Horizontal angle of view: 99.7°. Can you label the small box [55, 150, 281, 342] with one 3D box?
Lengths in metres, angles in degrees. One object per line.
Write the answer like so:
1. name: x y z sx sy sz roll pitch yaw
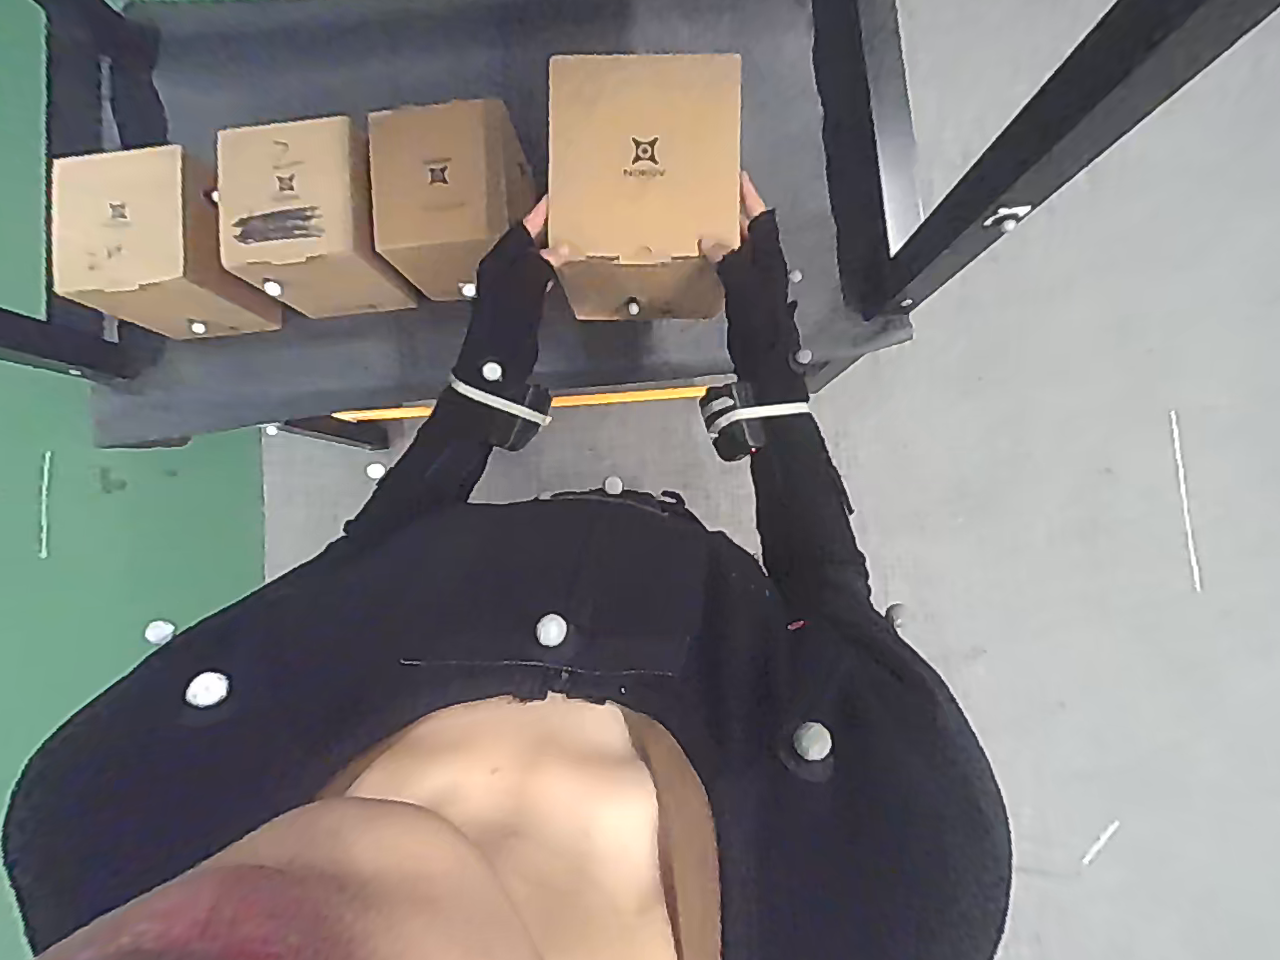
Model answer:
1. small box: -0.622 -0.304 0.733 0.168 0.176 0.179 -6 86 2
